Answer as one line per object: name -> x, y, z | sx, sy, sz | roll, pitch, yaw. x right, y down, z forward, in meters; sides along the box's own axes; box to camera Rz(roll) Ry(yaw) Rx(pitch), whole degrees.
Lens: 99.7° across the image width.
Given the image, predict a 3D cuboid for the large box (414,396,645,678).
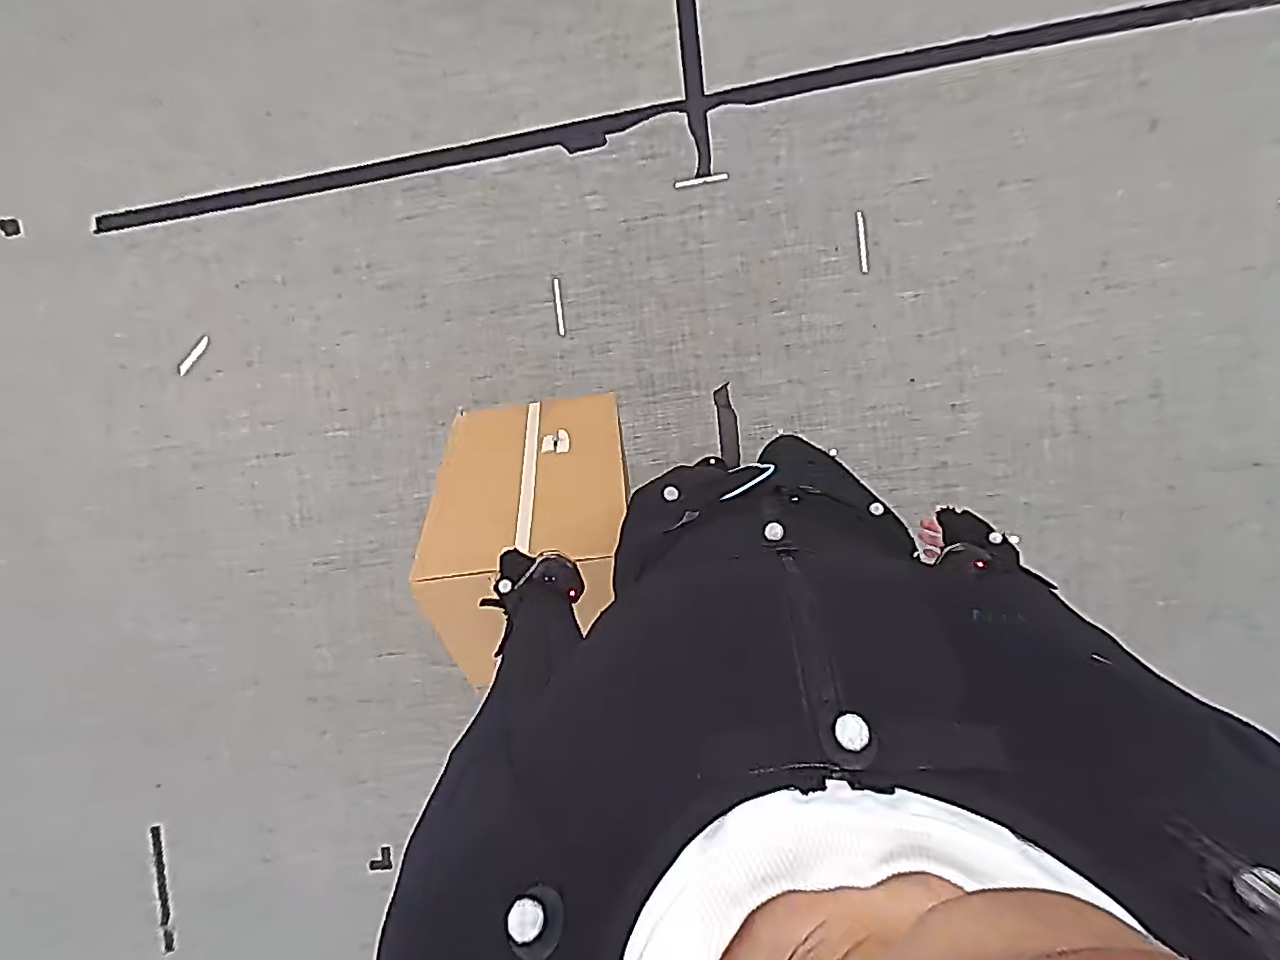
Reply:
large box -> -0.174, 0.097, 1.008 | 0.320, 0.408, 0.320 | -6, 132, 0
